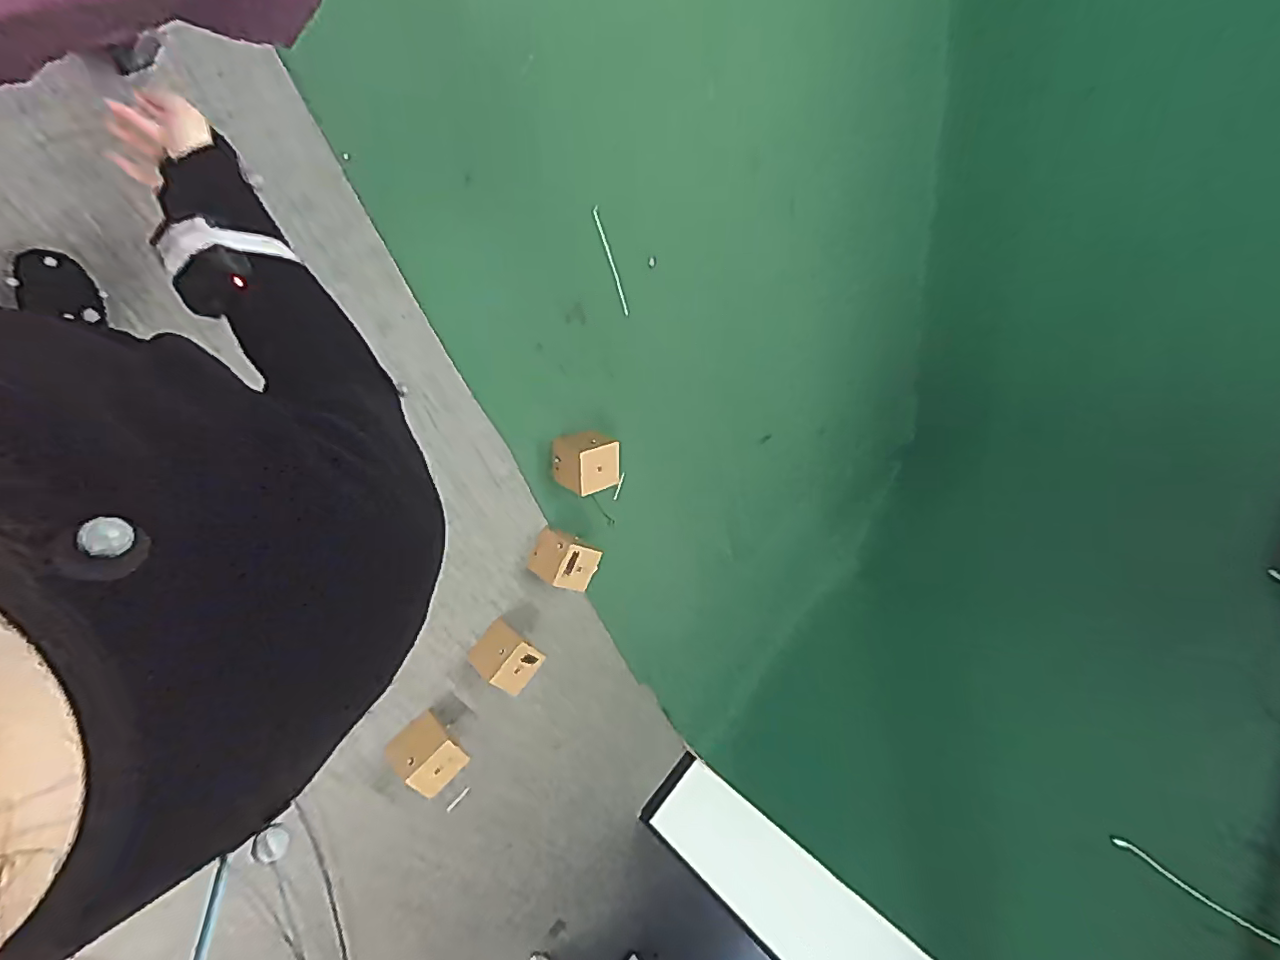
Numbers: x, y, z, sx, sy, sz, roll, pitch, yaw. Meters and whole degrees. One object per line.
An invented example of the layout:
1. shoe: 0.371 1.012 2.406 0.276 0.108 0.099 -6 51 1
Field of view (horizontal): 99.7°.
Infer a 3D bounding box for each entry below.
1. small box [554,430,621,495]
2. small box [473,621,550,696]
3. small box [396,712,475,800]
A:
1. small box: -0.188 -0.069 1.934 0.179 0.176 0.168 -21 122 -39
2. small box: -0.470 0.644 1.968 0.179 0.176 0.168 -51 137 -15
3. small box: -0.710 0.942 1.858 0.179 0.176 0.168 -42 134 -24
